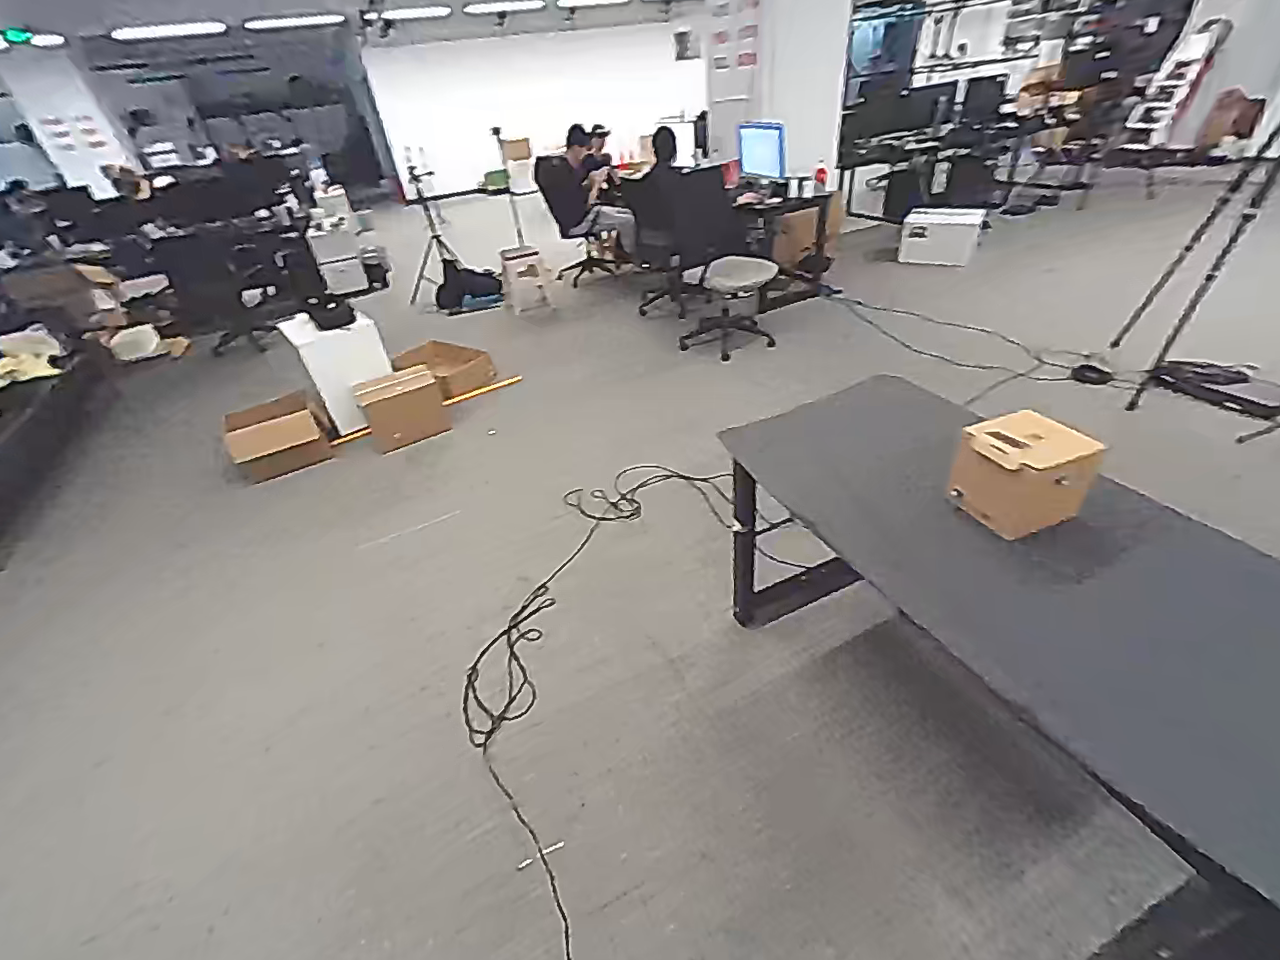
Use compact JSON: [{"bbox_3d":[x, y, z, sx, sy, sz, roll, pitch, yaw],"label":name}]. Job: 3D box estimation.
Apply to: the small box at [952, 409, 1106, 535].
[{"bbox_3d":[0.756,-0.015,1.077,0.179,0.176,0.168,-16,37,-13],"label":"small box"}]
